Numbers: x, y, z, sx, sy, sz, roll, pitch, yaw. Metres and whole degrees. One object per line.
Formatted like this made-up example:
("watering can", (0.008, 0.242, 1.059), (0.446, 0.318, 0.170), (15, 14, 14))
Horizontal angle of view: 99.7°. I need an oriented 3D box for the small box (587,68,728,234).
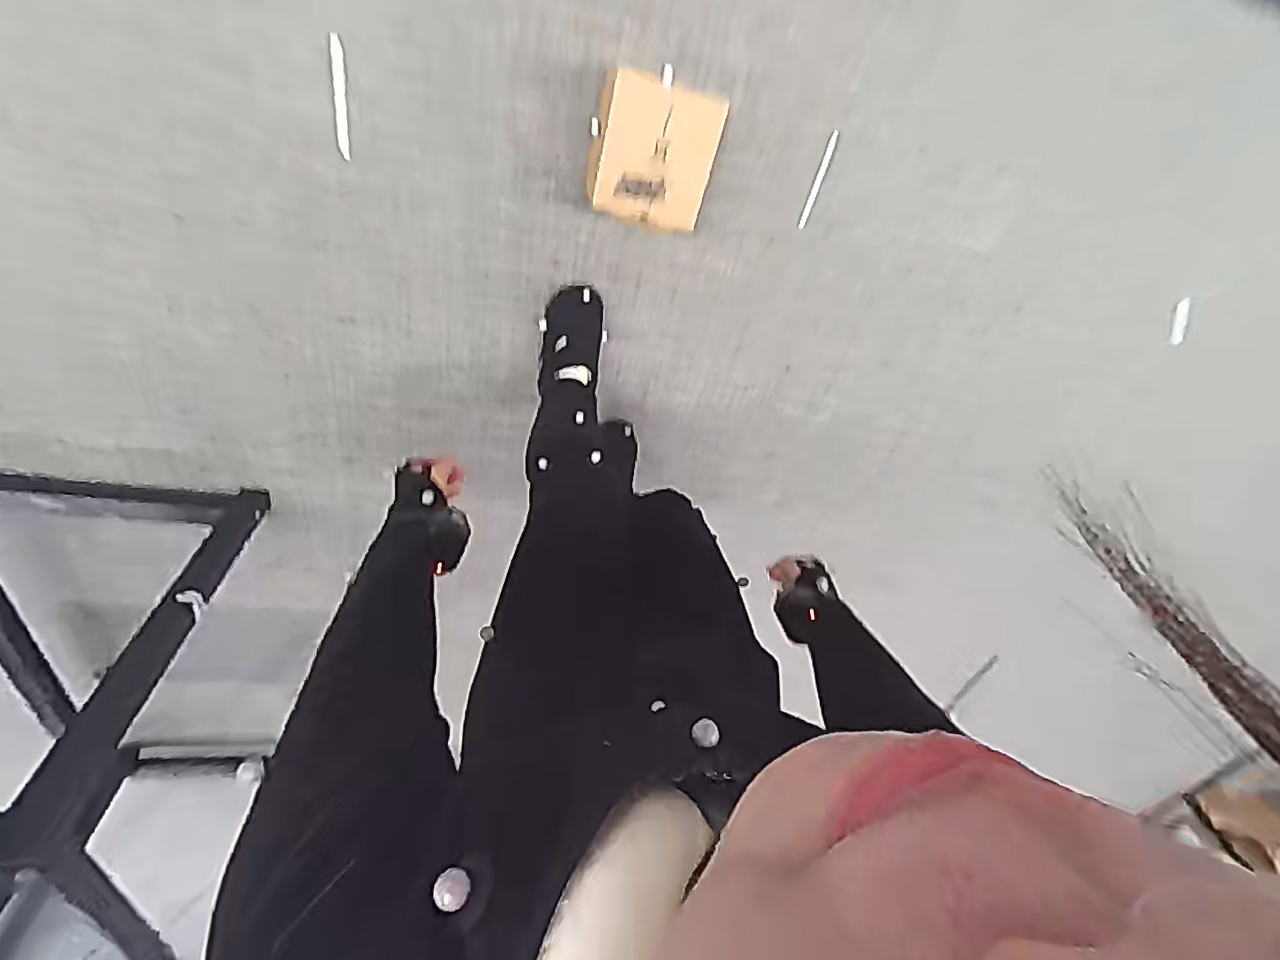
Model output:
("small box", (0.015, -0.516, 0.849), (0.168, 0.176, 0.179), (8, 125, -16))
